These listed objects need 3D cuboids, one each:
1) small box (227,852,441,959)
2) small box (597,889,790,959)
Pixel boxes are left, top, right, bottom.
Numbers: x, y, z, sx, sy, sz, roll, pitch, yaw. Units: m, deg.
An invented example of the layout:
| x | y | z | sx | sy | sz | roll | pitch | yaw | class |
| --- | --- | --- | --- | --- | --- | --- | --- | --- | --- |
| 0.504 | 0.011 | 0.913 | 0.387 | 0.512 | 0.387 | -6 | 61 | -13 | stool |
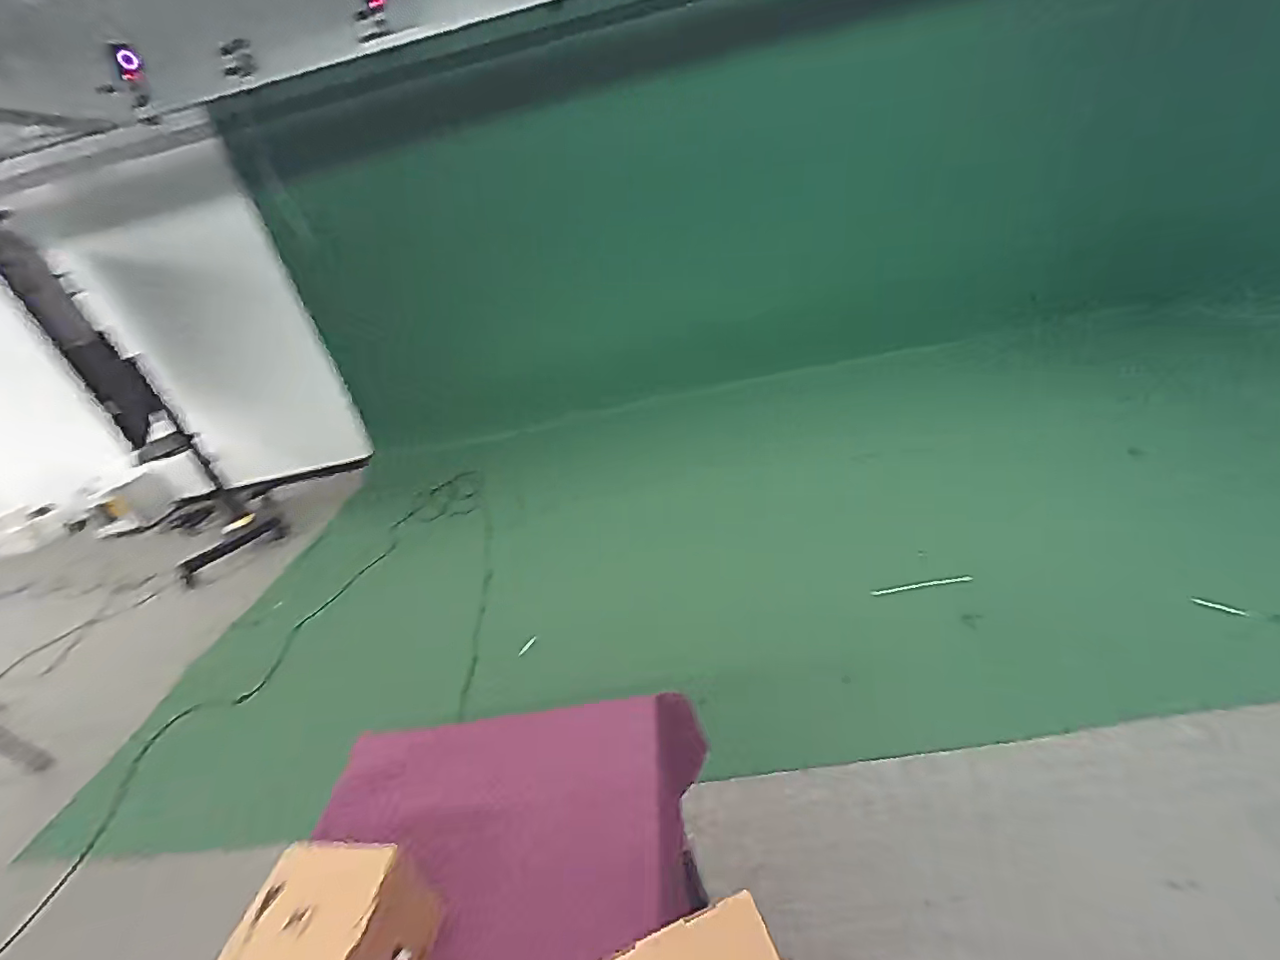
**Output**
| x | y | z | sx | sy | sz | roll | pitch | yaw | class |
| --- | --- | --- | --- | --- | --- | --- | --- | --- | --- |
| -0.387 | 0.612 | 0.692 | 0.179 | 0.176 | 0.168 | -8 | 28 | 12 | small box |
| 0.066 | 0.480 | 0.423 | 0.168 | 0.176 | 0.179 | -21 | 33 | -7 | small box |
